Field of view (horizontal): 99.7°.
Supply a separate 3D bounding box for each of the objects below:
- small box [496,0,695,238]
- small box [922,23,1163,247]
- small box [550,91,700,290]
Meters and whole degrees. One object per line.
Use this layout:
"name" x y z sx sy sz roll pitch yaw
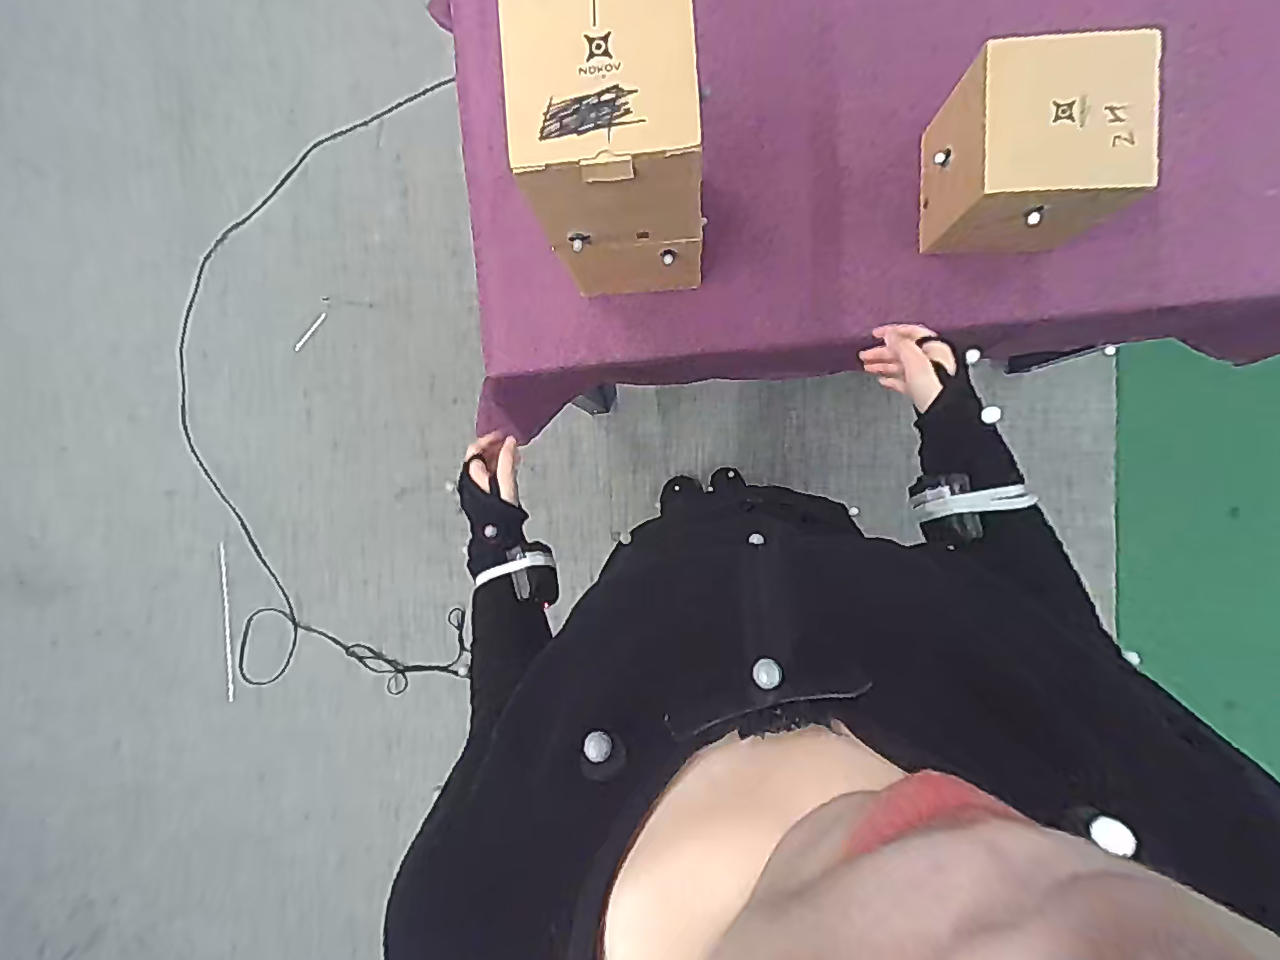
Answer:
"small box" -0.032 -0.359 0.537 0.168 0.176 0.179 -4 89 5
"small box" 0.460 -0.393 0.648 0.179 0.176 0.168 1 92 6
"small box" -0.014 -0.358 0.700 0.179 0.176 0.168 -3 91 5
